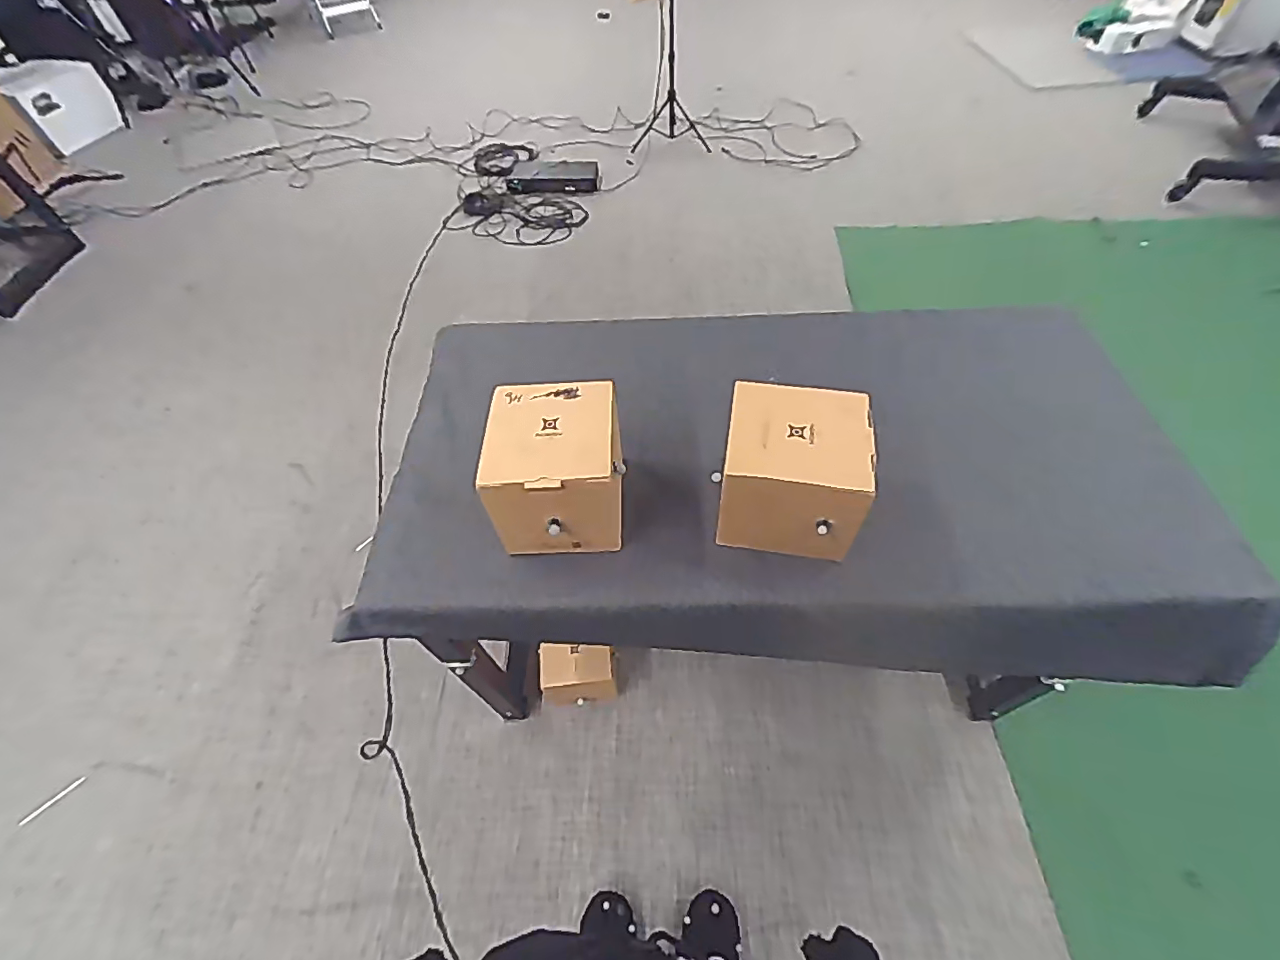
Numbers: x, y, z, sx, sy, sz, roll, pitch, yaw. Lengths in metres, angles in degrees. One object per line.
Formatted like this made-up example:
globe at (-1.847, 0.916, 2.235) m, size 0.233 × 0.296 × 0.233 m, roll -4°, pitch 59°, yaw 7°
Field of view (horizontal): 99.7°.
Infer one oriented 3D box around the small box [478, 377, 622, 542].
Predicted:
small box at (-0.112, -0.022, 0.765) m, size 0.168 × 0.176 × 0.179 m, roll -1°, pitch 54°, yaw 1°

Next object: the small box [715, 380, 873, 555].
small box at (0.204, -0.013, 0.746) m, size 0.179 × 0.176 × 0.168 m, roll 7°, pitch 54°, yaw 9°
